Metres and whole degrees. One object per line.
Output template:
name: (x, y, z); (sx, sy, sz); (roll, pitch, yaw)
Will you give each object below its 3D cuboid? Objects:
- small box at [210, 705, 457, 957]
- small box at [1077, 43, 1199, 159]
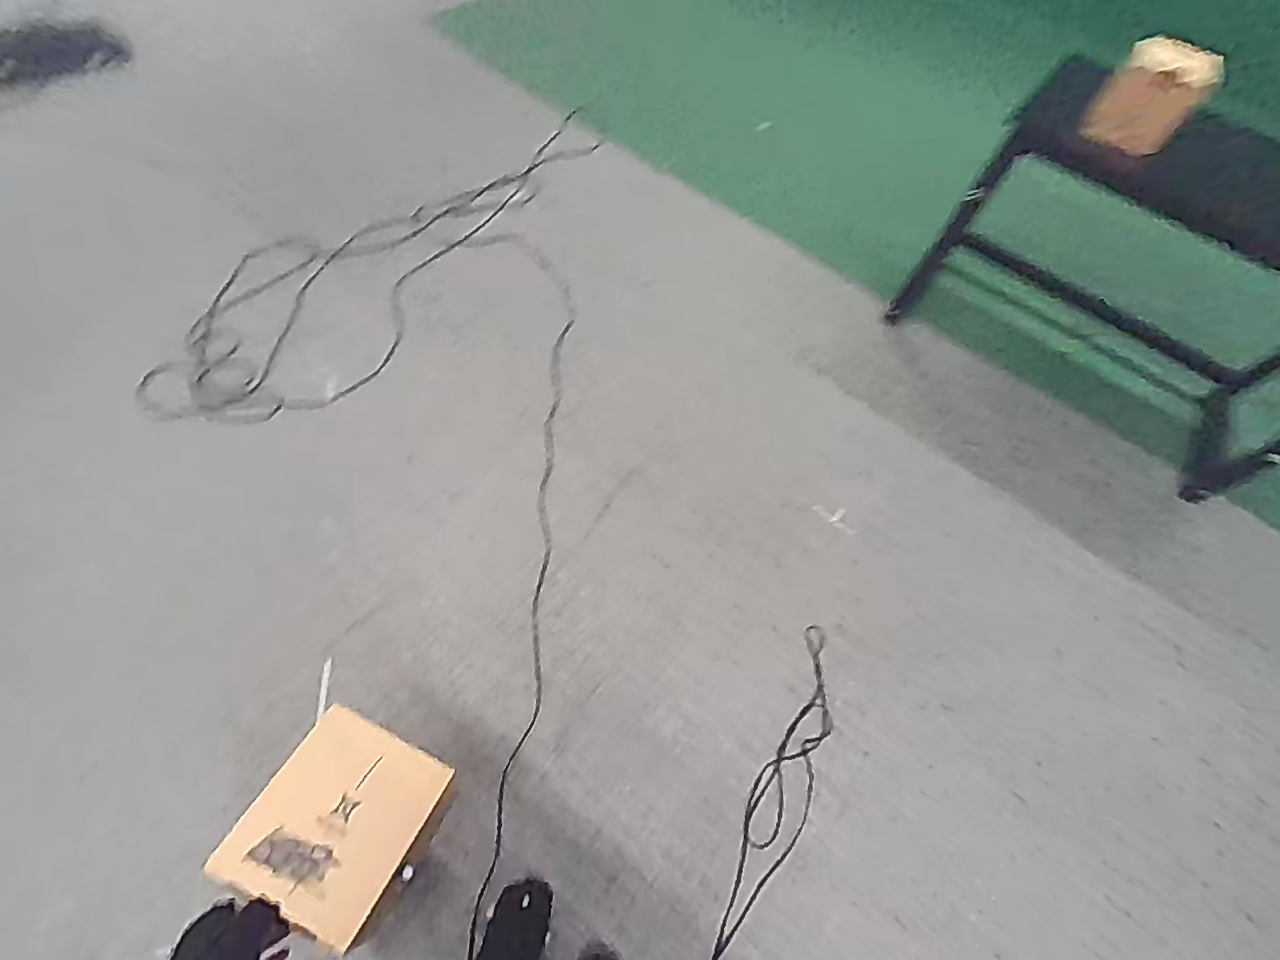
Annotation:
small box: (-0.329, 0.401, 0.630); (0.168, 0.176, 0.179); (27, 52, 5)
small box: (1.289, -0.982, 1.408); (0.168, 0.176, 0.179); (30, 62, 9)
